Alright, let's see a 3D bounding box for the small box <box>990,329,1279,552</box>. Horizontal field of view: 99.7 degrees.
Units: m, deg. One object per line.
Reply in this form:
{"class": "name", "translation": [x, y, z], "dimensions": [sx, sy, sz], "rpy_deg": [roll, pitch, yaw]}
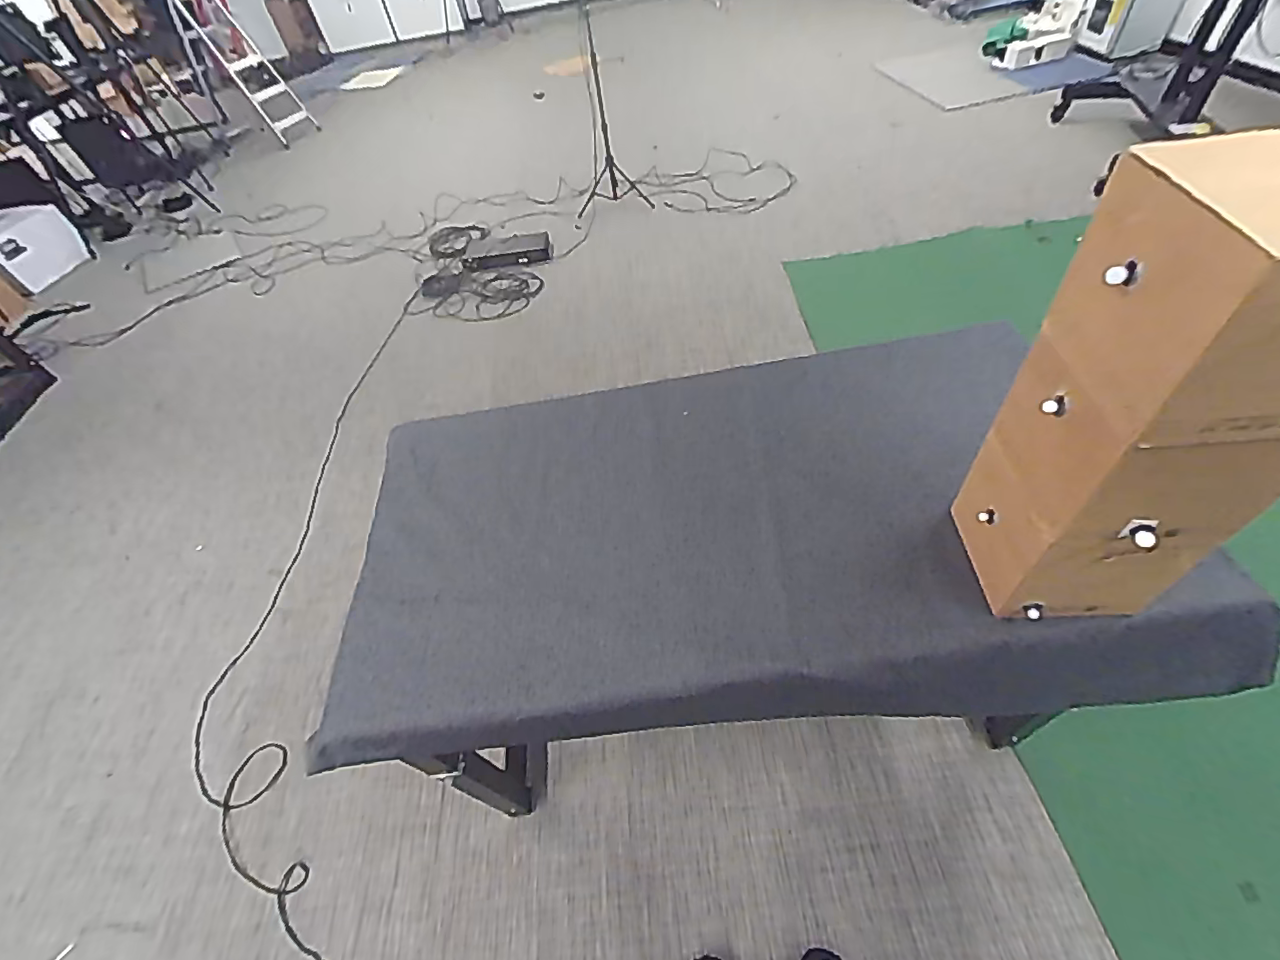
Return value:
{"class": "small box", "translation": [0.501, -0.044, 0.561], "dimensions": [0.168, 0.176, 0.179], "rpy_deg": [-4, 51, 9]}

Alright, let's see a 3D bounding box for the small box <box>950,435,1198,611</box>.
{"class": "small box", "translation": [0.525, 0.056, 0.686], "dimensions": [0.168, 0.176, 0.179], "rpy_deg": [-3, 49, 8]}

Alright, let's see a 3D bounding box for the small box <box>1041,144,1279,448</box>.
{"class": "small box", "translation": [0.472, -0.146, 0.436], "dimensions": [0.168, 0.176, 0.179], "rpy_deg": [-3, 49, 9]}
